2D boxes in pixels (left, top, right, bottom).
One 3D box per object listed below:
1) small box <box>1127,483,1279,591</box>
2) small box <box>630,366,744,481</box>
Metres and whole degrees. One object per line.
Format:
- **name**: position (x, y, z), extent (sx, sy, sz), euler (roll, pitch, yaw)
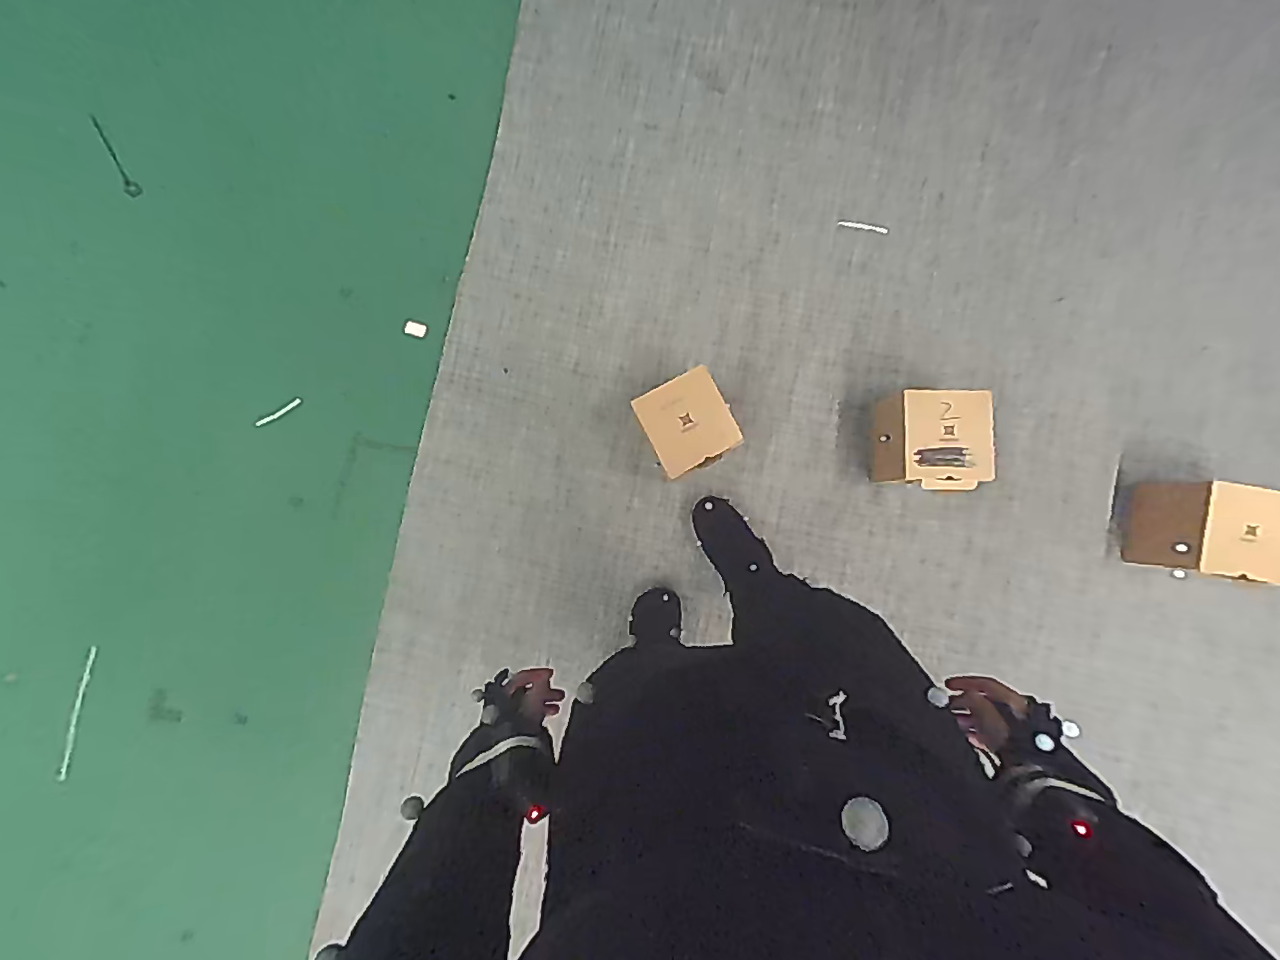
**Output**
- **small box**: position (1.124, 0.107, 1.071), extent (0.168, 0.176, 0.179), euler (10, 89, 2)
- **small box**: position (0.094, -0.107, 1.122), extent (0.168, 0.176, 0.179), euler (-28, 86, 0)
